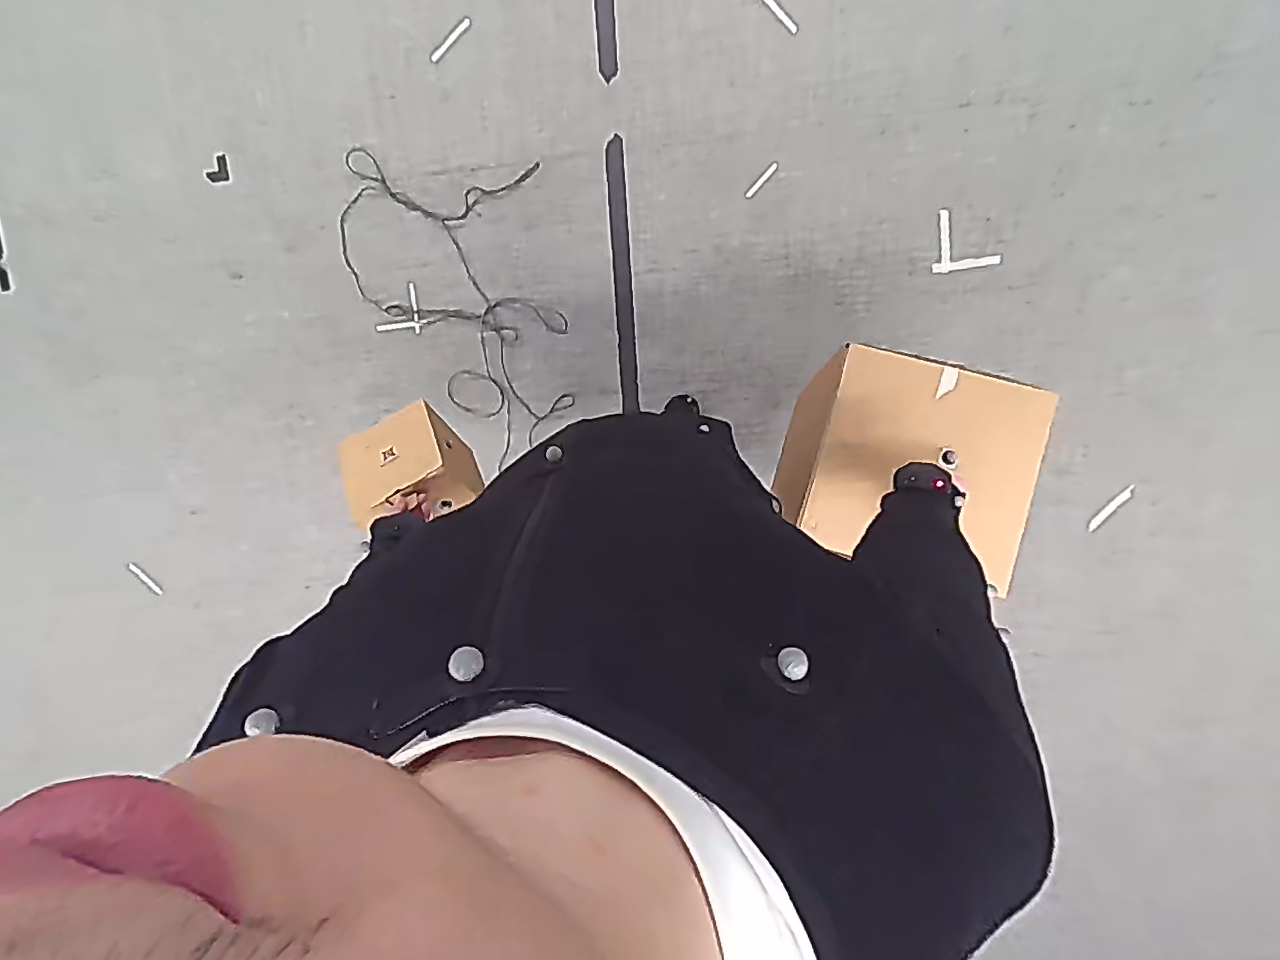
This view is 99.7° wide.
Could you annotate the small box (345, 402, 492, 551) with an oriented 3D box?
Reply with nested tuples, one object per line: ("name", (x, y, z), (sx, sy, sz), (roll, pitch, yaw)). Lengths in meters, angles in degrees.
("small box", (-0.386, 0.004, 0.958), (0.168, 0.176, 0.179), (-30, 54, -2))
